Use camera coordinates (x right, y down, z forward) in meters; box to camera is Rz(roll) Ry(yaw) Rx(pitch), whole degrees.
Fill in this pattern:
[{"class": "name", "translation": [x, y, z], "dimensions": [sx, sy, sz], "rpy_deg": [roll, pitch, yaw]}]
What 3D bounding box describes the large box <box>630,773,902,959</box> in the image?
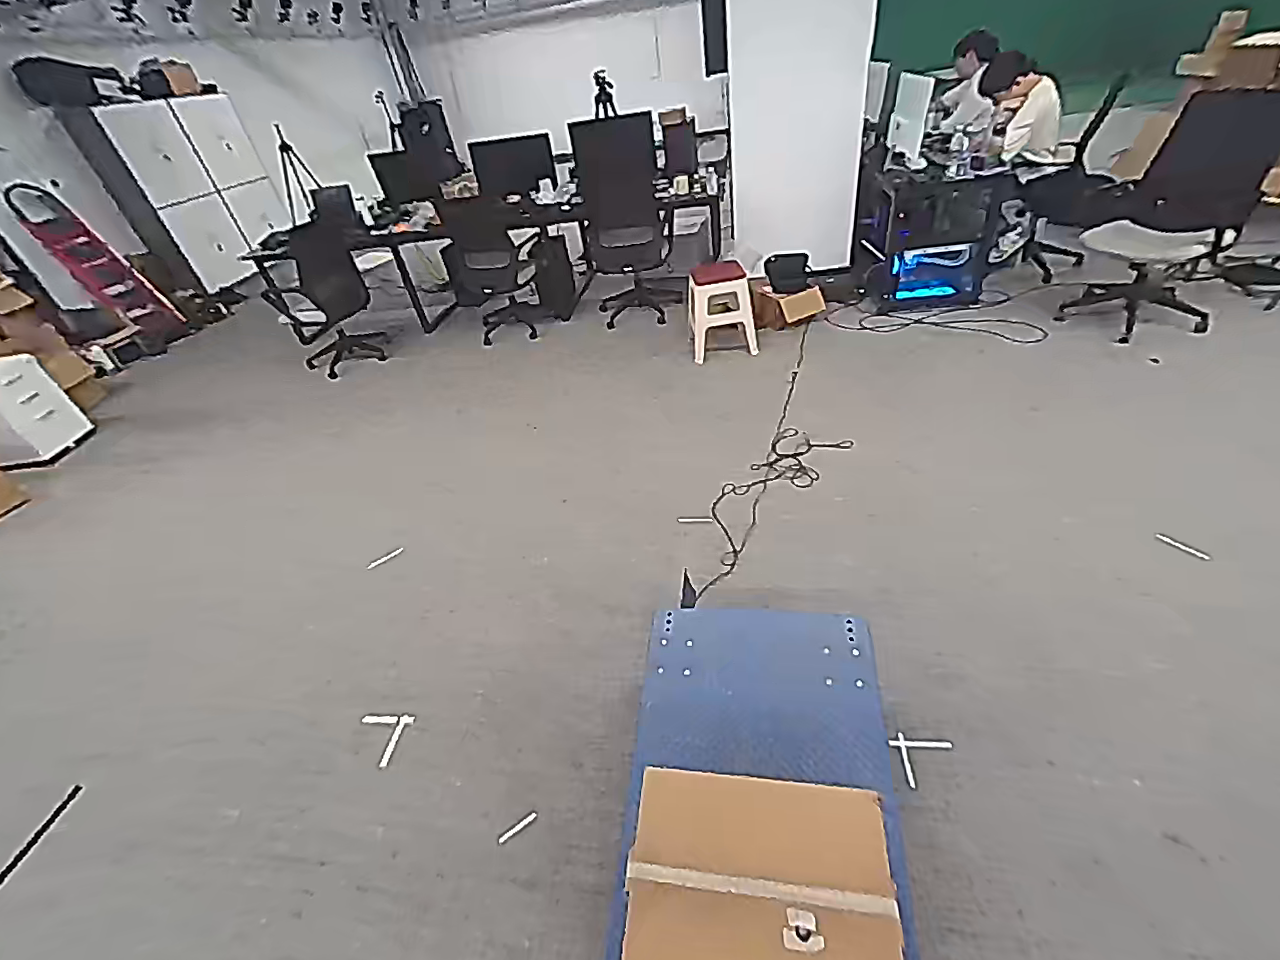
[{"class": "large box", "translation": [0.213, 0.749, 0.964], "dimensions": [0.408, 0.320, 0.320], "rpy_deg": [-1, 49, 12]}]
